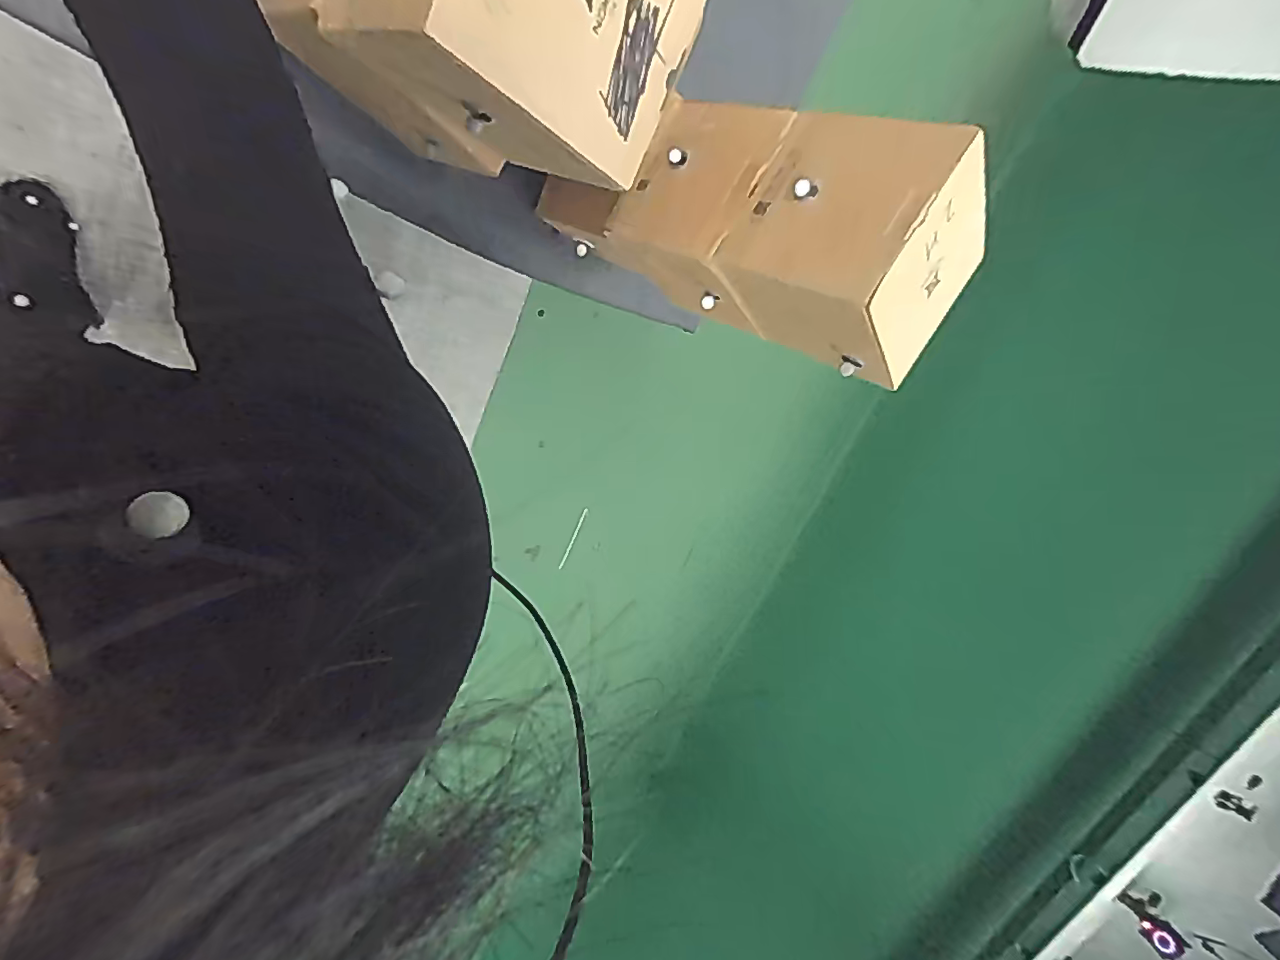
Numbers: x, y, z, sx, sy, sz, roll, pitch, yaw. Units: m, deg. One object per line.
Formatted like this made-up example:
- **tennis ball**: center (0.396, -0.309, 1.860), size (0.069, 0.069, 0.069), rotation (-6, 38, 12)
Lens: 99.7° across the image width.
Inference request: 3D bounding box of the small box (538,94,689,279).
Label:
- **small box**: center (-0.010, -0.383, 0.725), size (0.168, 0.176, 0.179), rotation (7, 113, -51)

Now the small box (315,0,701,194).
- **small box**: center (-0.088, -0.336, 0.378), size (0.179, 0.176, 0.168), rotation (7, 112, -52)

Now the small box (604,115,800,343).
- **small box**: center (0.094, -0.294, 0.636), size (0.179, 0.176, 0.168), rotation (25, 98, -54)

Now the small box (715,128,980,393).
- **small box**: center (0.208, -0.219, 0.543), size (0.168, 0.176, 0.179), rotation (-58, 144, 3)
